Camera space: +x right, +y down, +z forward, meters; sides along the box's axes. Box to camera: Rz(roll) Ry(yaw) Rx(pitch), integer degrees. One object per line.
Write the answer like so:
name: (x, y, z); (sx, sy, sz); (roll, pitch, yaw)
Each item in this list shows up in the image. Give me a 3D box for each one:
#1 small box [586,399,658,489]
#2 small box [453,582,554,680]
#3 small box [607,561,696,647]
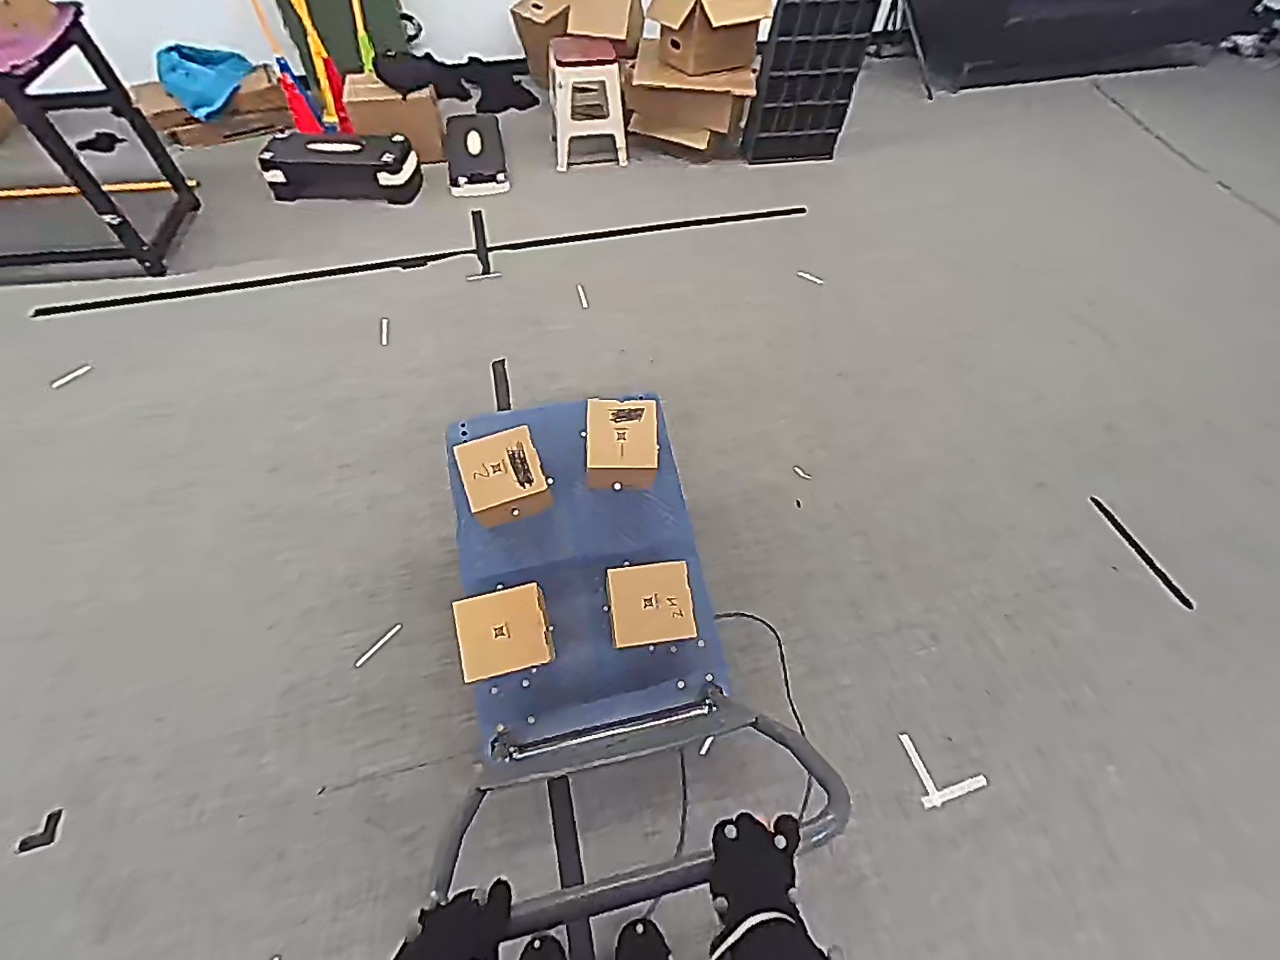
small box: (-0.048, -0.085, 1.343); (0.168, 0.176, 0.179); (1, 73, -5)
small box: (-0.293, 0.334, 1.184); (0.179, 0.176, 0.168); (-12, 74, -11)
small box: (0.018, 0.286, 1.229); (0.179, 0.176, 0.168); (-5, 73, -7)
